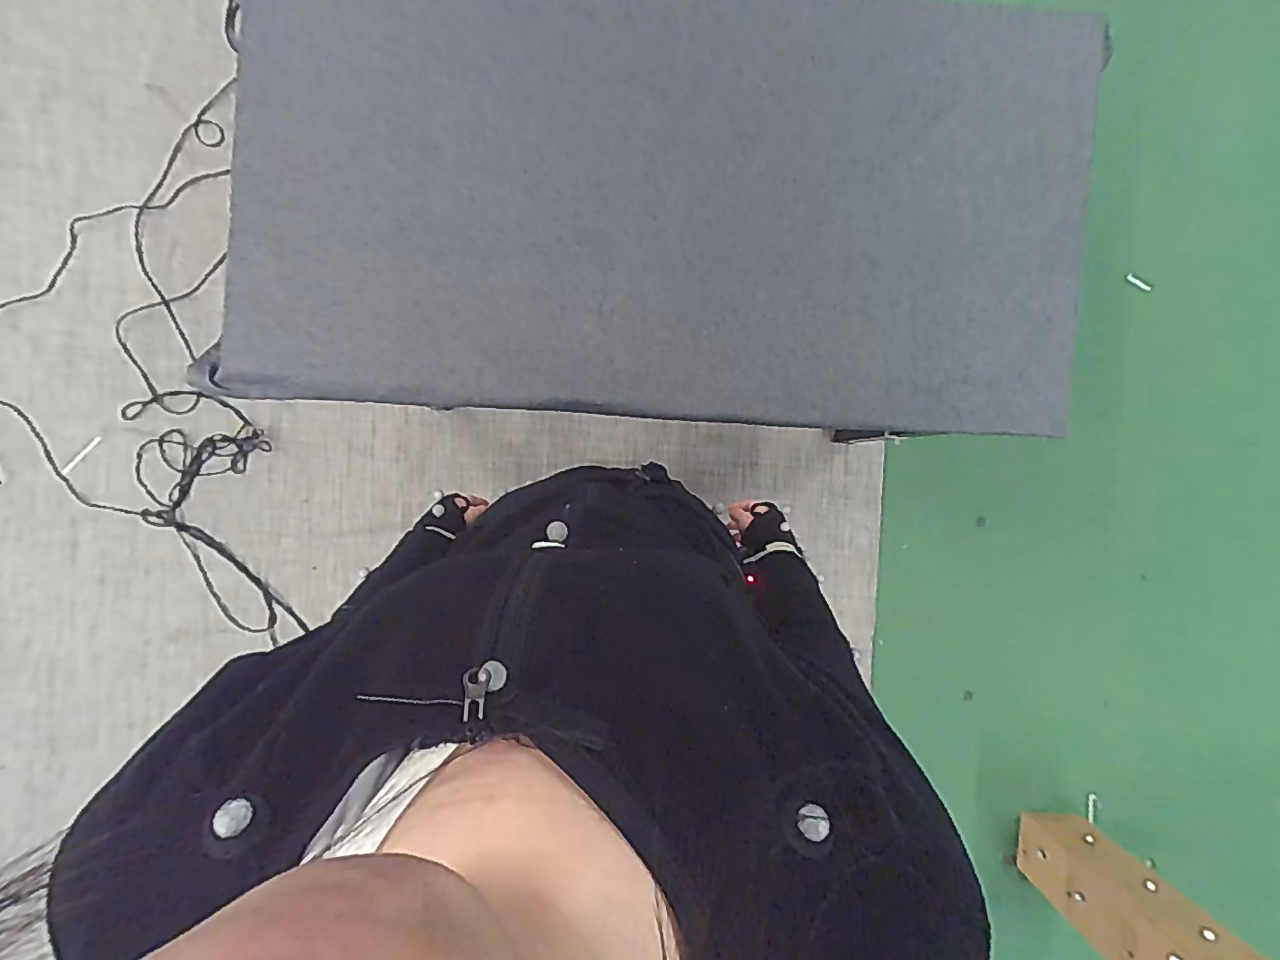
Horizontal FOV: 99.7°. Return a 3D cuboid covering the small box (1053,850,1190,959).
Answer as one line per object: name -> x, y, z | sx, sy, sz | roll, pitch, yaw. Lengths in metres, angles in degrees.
small box -> 1.161, 1.038, 1.314 | 0.179, 0.176, 0.168 | 6, 91, -2

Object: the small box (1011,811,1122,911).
small box -> 1.156, 1.037, 1.479 | 0.179, 0.176, 0.168 | 3, 91, -2
